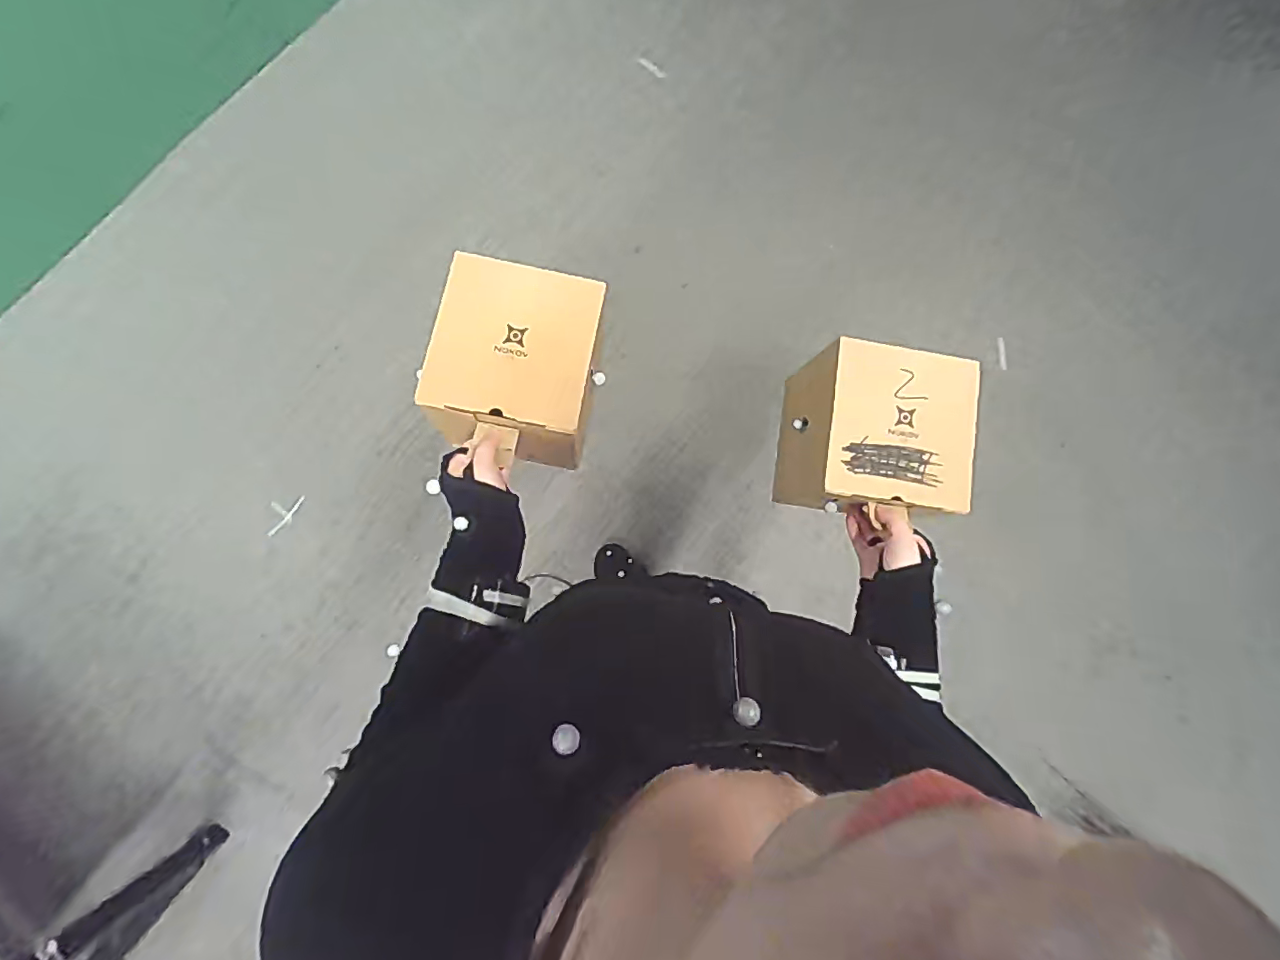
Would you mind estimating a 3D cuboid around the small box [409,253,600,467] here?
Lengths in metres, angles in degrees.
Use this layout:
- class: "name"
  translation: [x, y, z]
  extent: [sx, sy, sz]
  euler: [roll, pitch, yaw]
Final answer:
- class: "small box"
  translation: [-0.147, -0.128, 0.638]
  extent: [0.168, 0.176, 0.179]
  euler: [10, 78, -4]
